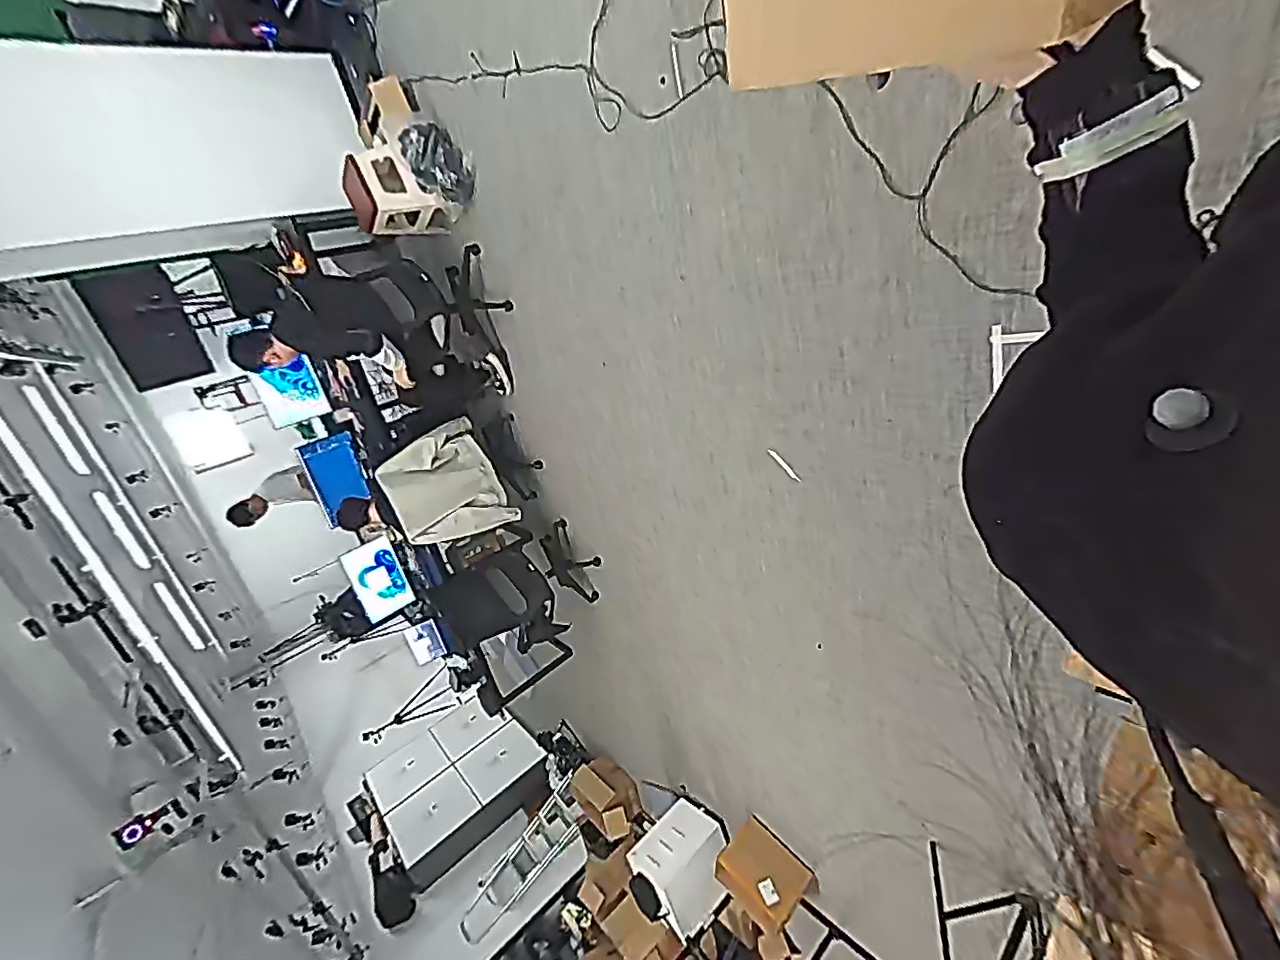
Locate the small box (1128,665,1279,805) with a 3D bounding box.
[{"bbox_3d":[0.904,0.438,0.876,0.168,0.176,0.179,20,129,46],"label":"small box"}]

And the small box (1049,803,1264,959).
[{"bbox_3d":[0.665,0.574,0.702,0.168,0.176,0.179,17,129,48],"label":"small box"}]

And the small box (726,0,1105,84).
[{"bbox_3d":[0.155,-0.316,0.260,0.179,0.176,0.168,27,146,40],"label":"small box"}]

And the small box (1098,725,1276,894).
[{"bbox_3d":[0.782,0.502,0.789,0.168,0.176,0.179,17,128,47],"label":"small box"}]
